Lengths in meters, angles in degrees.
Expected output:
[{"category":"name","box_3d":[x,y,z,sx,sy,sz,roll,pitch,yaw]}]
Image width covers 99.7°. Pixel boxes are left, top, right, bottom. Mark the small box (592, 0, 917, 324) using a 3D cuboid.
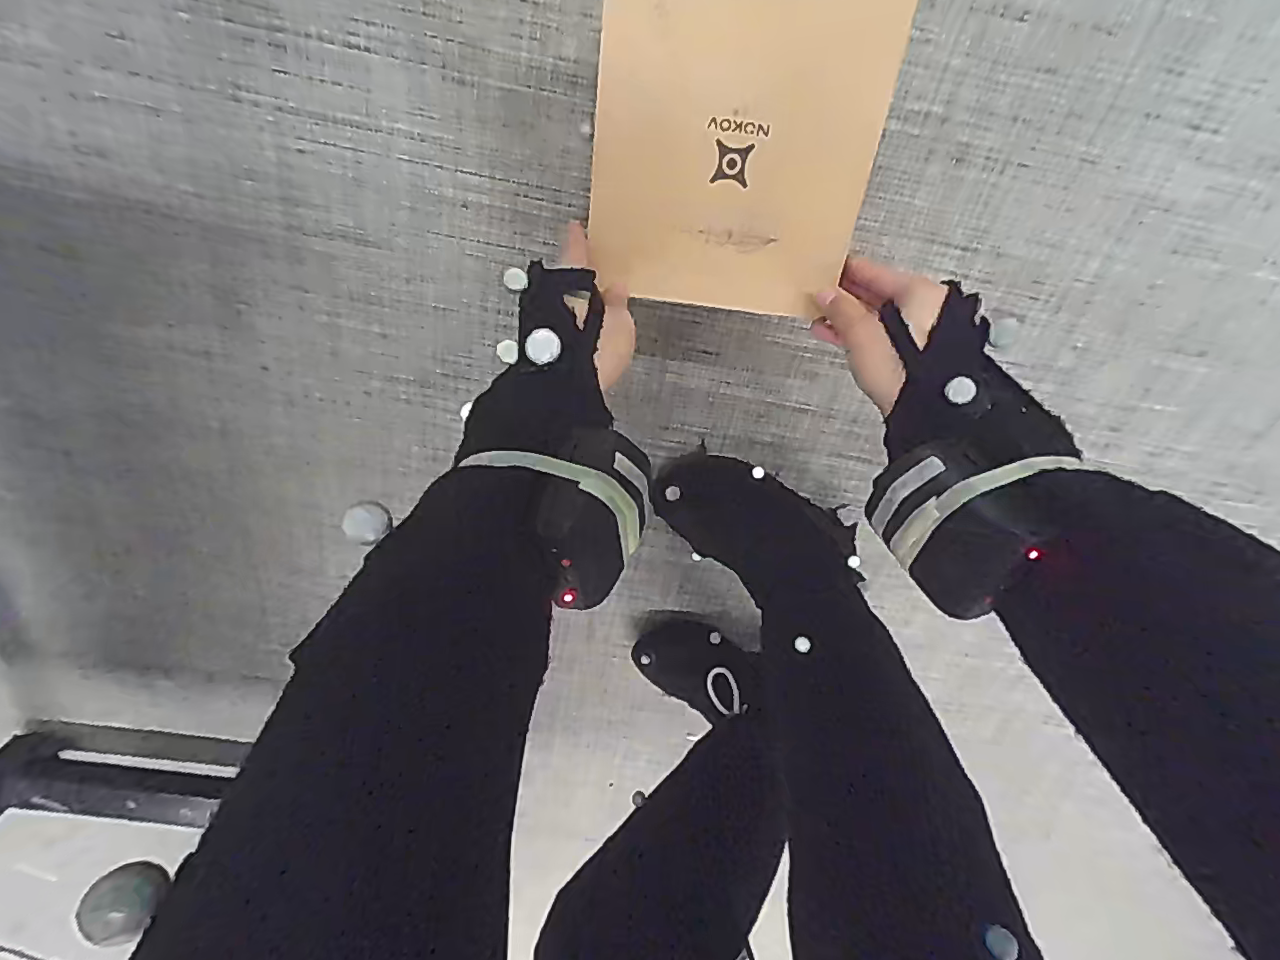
[{"category":"small box","box_3d":[0.060,-0.227,0.393,0.168,0.176,0.179,7,119,0]}]
